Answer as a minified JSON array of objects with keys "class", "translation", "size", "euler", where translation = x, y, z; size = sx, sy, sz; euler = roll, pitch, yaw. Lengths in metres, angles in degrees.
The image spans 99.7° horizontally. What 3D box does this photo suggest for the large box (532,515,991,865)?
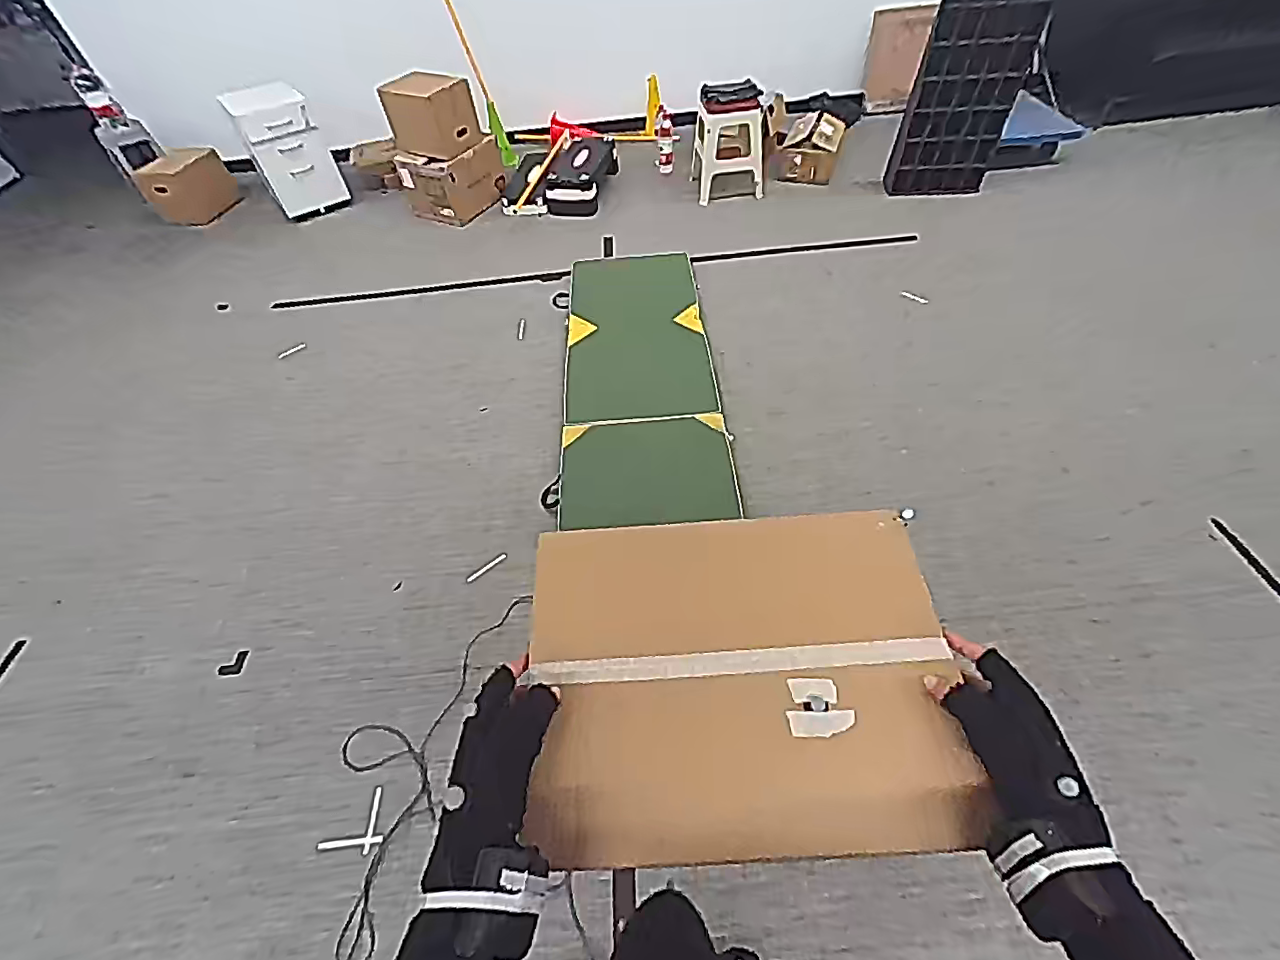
[{"class":"large box","translation":[0.101,0.267,0.664],"size":[0.408,0.320,0.320],"euler":[-4,56,1]}]
